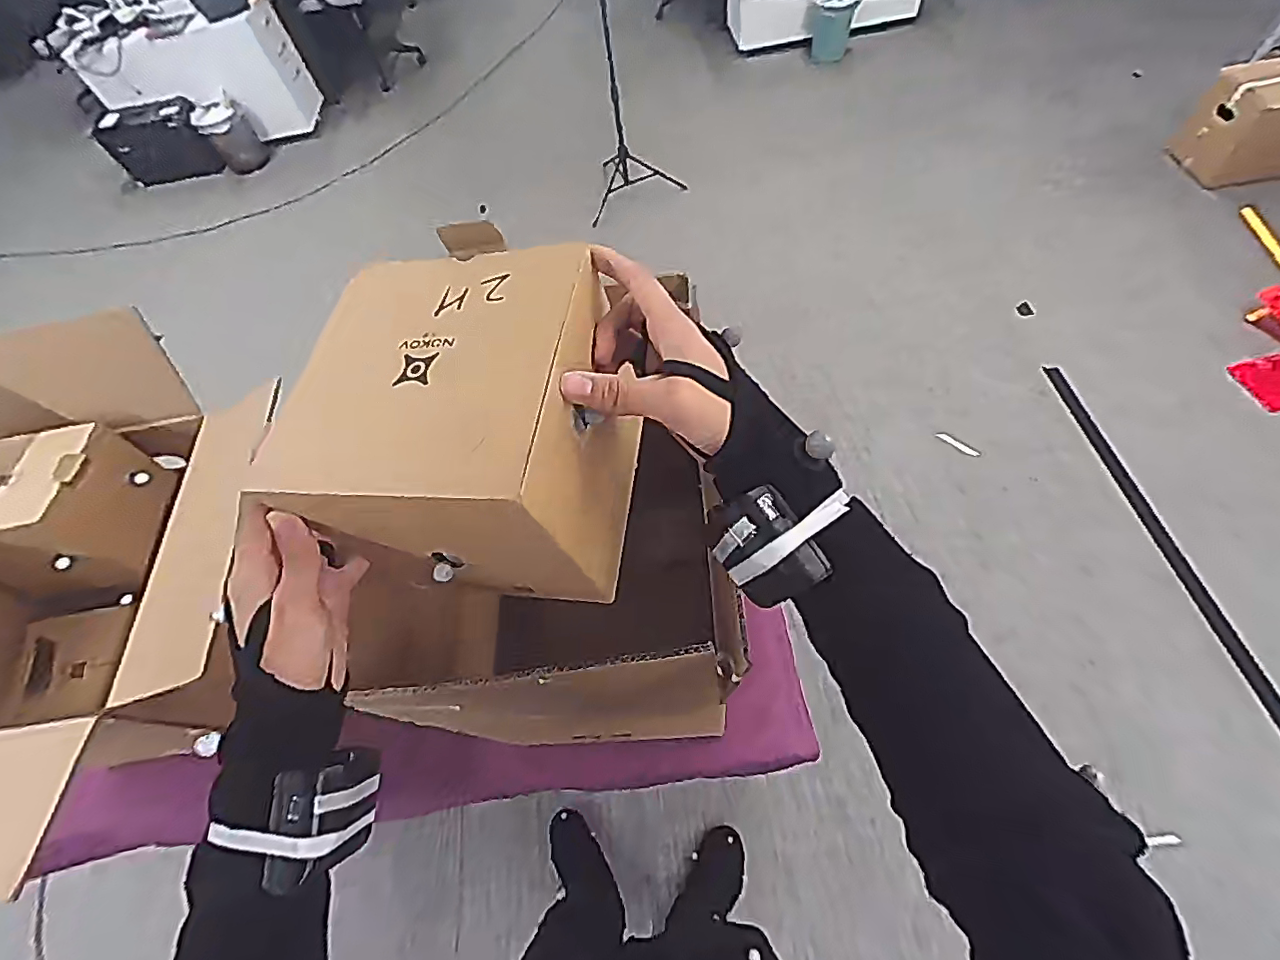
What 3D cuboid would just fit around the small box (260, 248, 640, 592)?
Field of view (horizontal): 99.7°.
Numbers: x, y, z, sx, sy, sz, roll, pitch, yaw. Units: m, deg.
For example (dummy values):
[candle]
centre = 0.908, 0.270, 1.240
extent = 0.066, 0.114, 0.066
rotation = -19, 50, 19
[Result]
[small box]
centre = -0.104, -0.030, 0.384
extent = 0.168, 0.176, 0.179
rotation = 1, 61, 15
